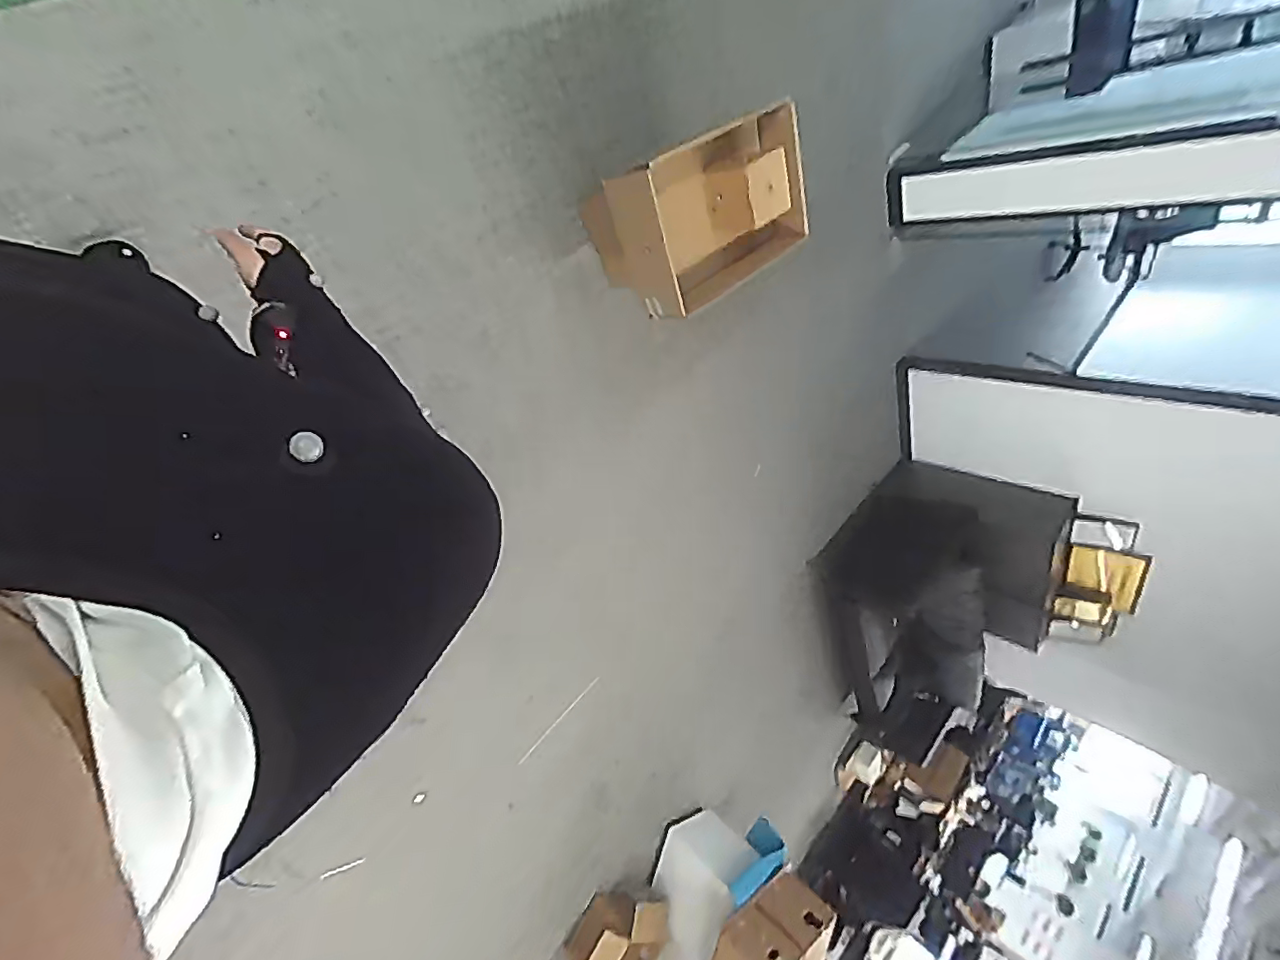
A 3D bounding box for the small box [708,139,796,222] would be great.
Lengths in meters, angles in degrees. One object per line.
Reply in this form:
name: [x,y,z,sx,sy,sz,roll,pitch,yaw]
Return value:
small box: [0.324,-0.865,1.568,0.179,0.176,0.168,-39,130,-23]
